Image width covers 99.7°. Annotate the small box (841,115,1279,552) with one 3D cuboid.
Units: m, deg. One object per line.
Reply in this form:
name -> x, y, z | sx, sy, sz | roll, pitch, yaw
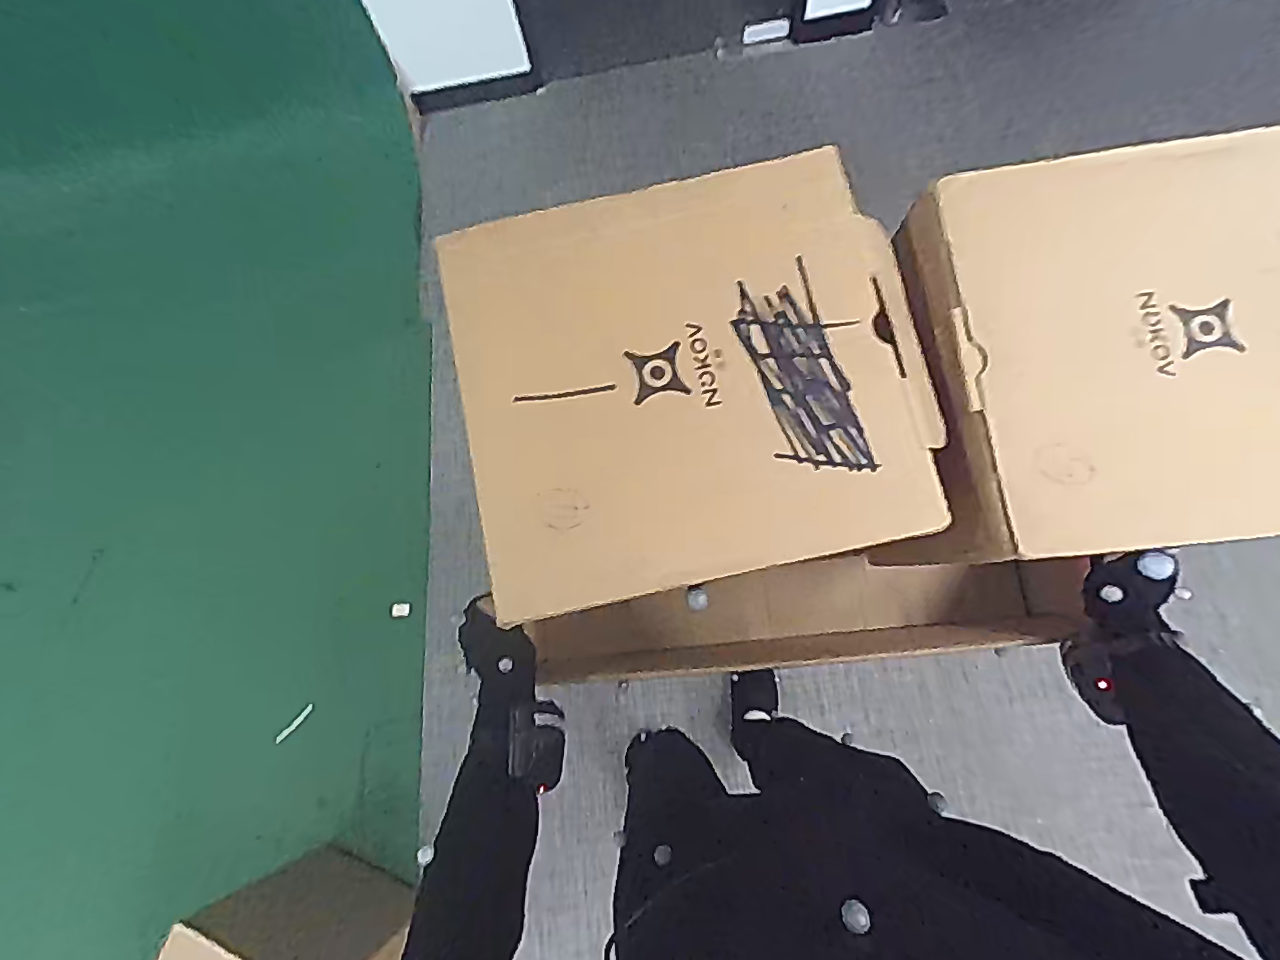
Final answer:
small box -> 0.221, -0.052, 0.295 | 0.179, 0.176, 0.168 | -6, 80, 4
